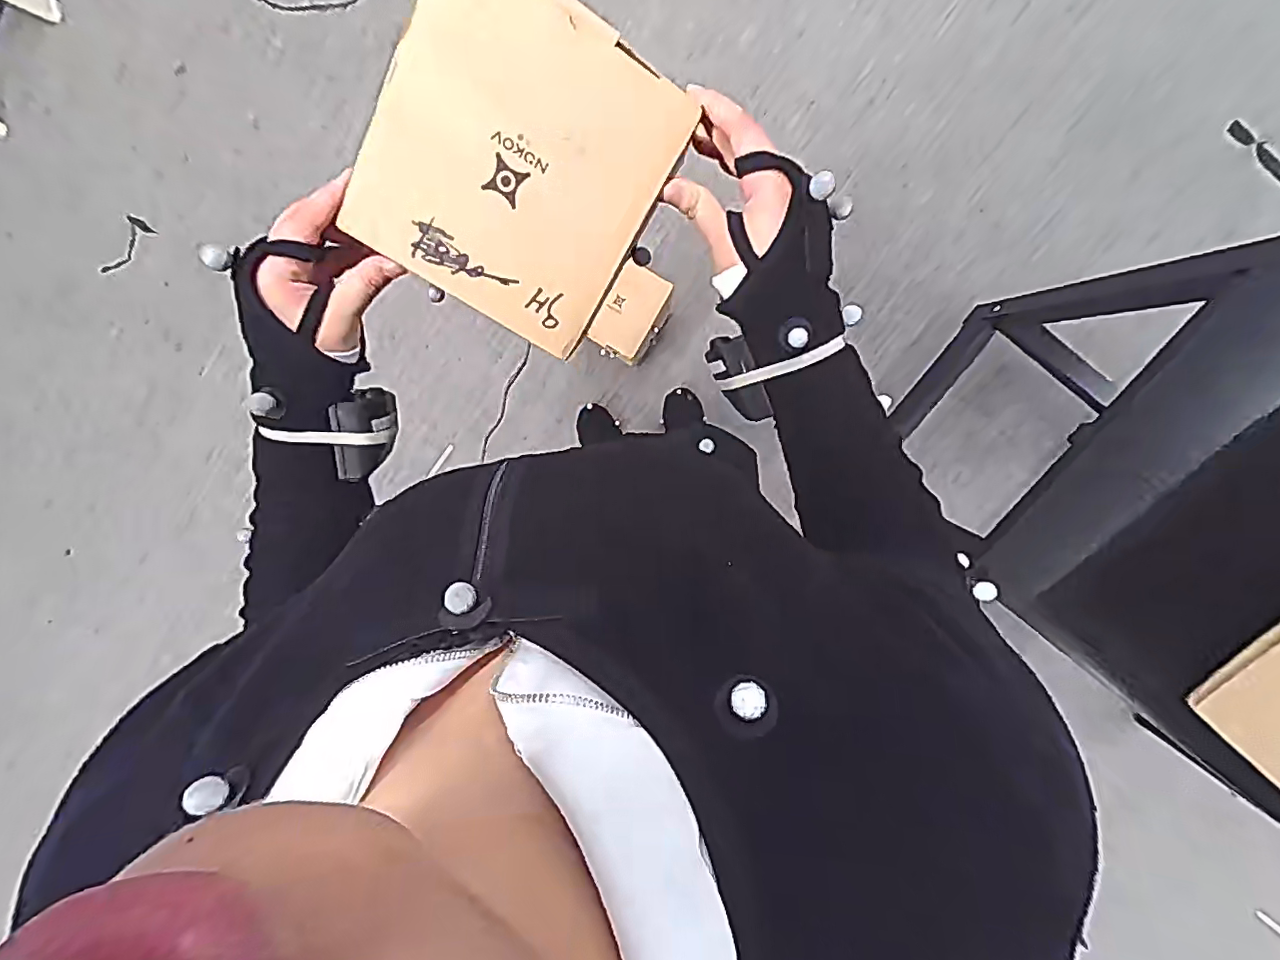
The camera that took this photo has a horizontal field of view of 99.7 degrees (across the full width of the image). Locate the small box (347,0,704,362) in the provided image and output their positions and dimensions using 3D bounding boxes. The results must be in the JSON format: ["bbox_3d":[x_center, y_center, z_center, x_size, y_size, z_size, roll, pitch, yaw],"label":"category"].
[{"bbox_3d":[-0.075,-0.217,0.409,0.168,0.176,0.179,30,108,-11],"label":"small box"}]

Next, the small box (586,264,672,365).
[{"bbox_3d":[-0.042,-0.369,1.192,0.168,0.176,0.179,30,98,-4],"label":"small box"}]

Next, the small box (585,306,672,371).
[{"bbox_3d":[-0.036,-0.389,1.352,0.168,0.176,0.179,33,100,-3],"label":"small box"}]
